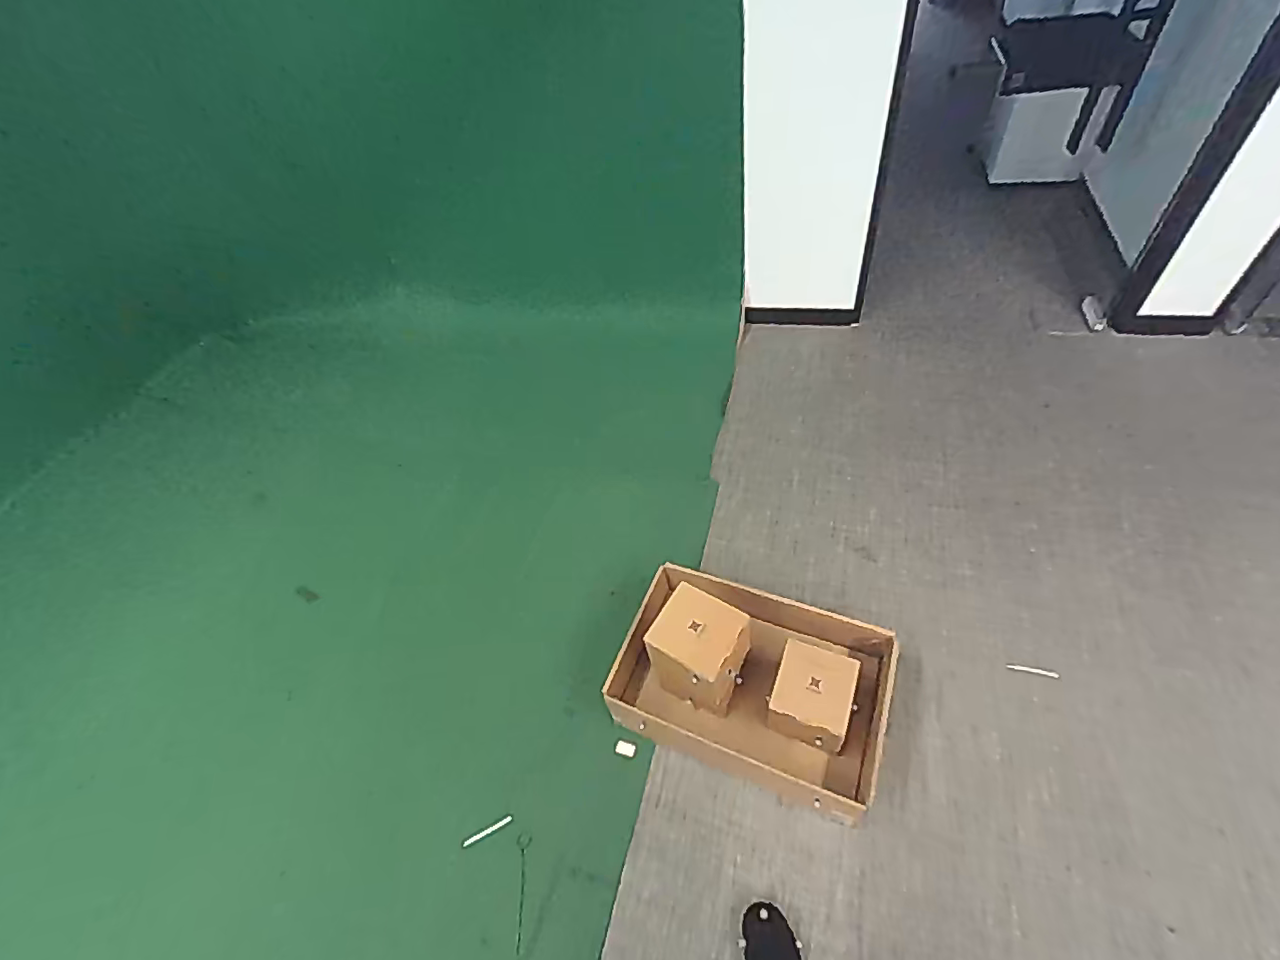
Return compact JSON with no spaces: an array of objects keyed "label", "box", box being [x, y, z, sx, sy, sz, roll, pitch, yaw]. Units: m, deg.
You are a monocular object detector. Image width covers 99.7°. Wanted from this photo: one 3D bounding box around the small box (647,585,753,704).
[{"label":"small box","box":[0.138,0.376,1.220,0.179,0.176,0.168,24,59,26]}]
